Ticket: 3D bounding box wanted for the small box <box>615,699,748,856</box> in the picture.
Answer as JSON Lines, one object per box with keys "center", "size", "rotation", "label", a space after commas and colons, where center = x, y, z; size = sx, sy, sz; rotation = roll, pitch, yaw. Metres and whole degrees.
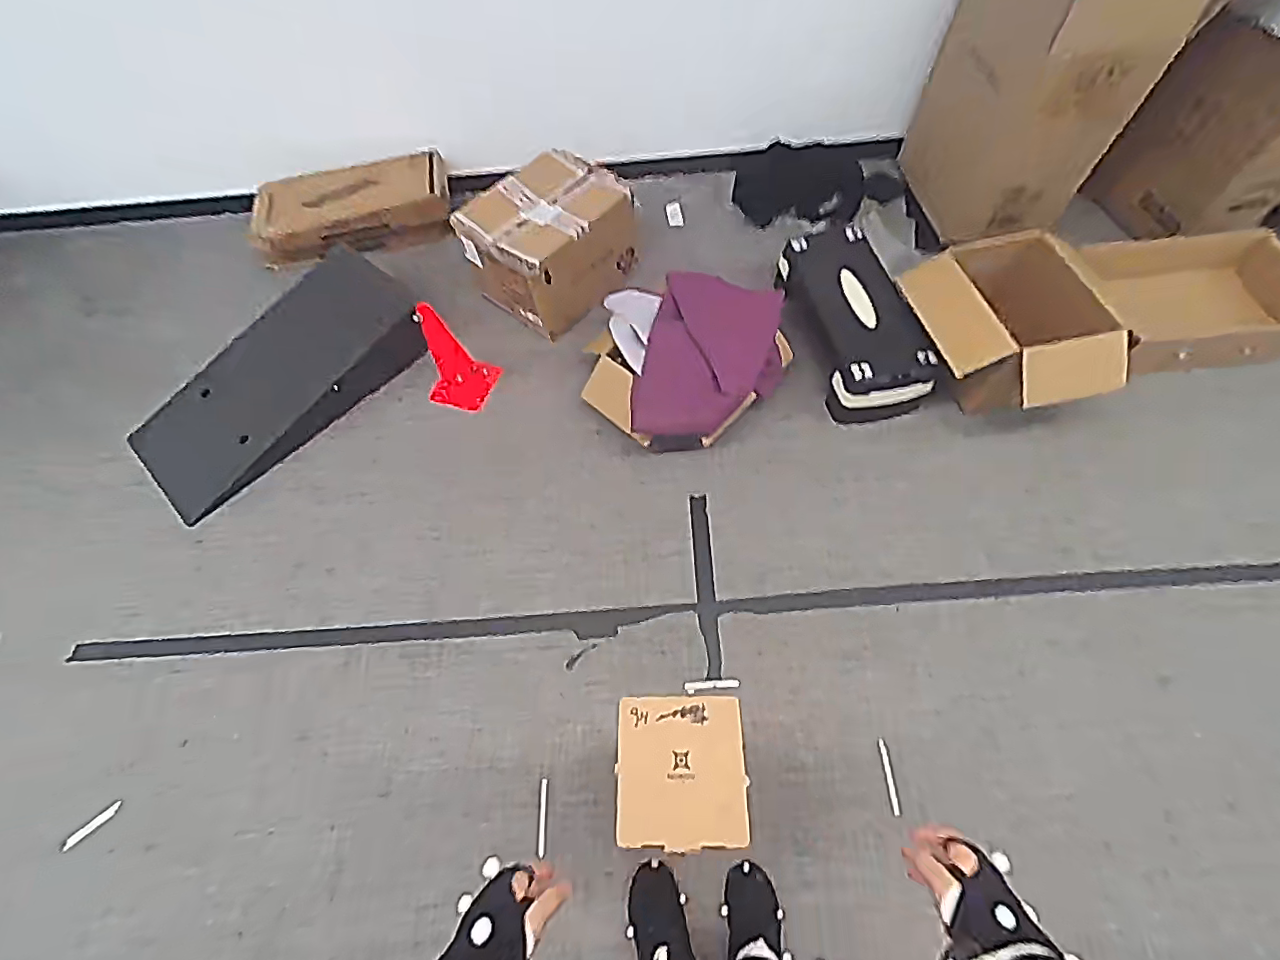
{"center": [0.058, 0.410, 0.761], "size": [0.168, 0.176, 0.179], "rotation": [-1, 62, 4], "label": "small box"}
